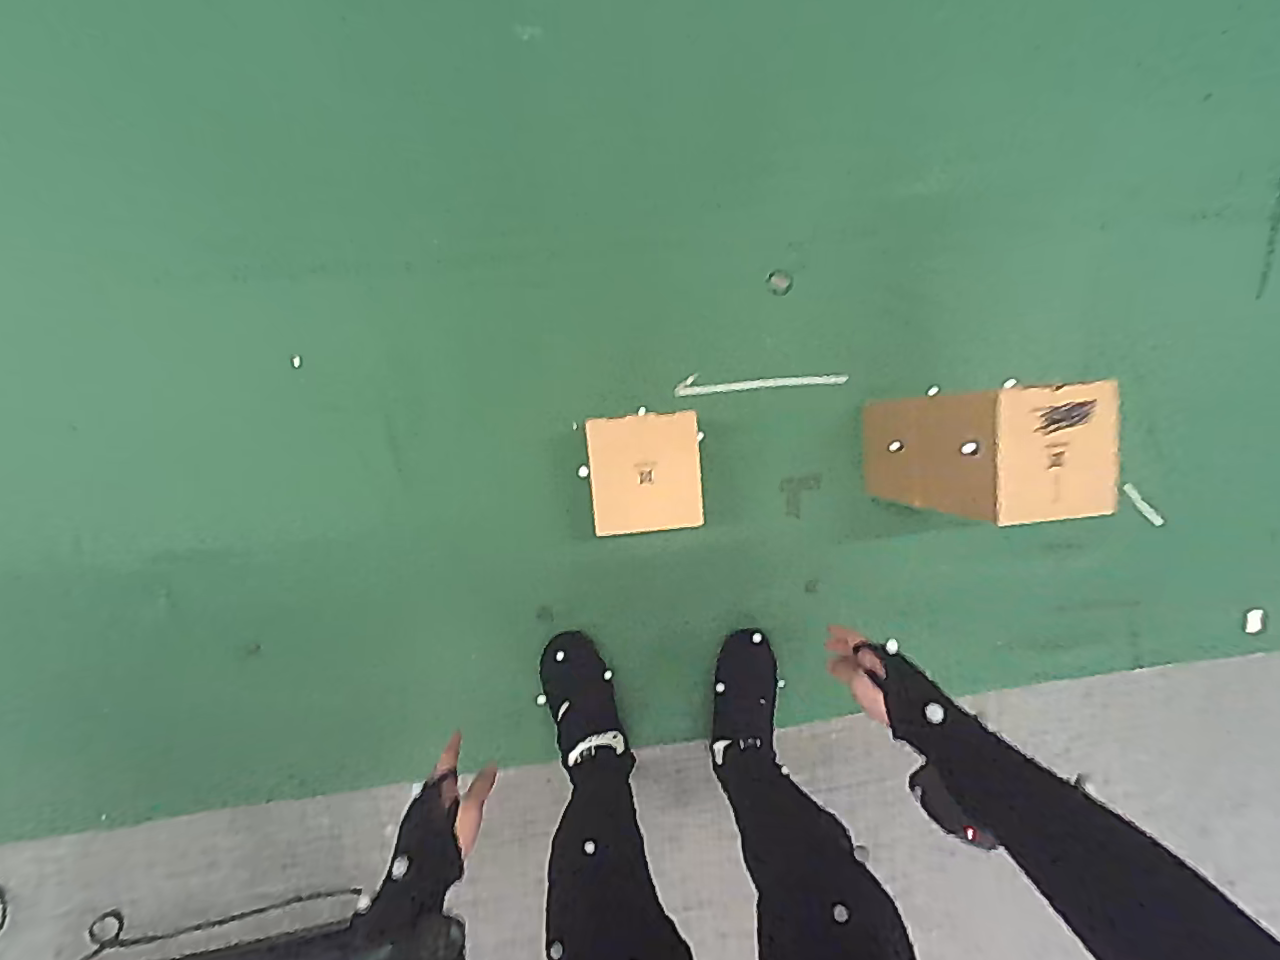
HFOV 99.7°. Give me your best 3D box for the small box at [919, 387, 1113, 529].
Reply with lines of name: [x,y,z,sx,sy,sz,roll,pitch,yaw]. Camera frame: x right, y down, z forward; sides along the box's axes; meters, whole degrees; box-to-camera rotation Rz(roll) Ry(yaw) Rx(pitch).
small box: [0.524,-0.034,0.775,0.168,0.176,0.179,-5,95,-6]

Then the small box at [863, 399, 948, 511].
small box: [0.504,-0.046,0.937,0.168,0.176,0.179,-4,95,-6]

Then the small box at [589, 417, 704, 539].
small box: [0.005,-0.010,0.888,0.168,0.176,0.179,-5,94,-6]
